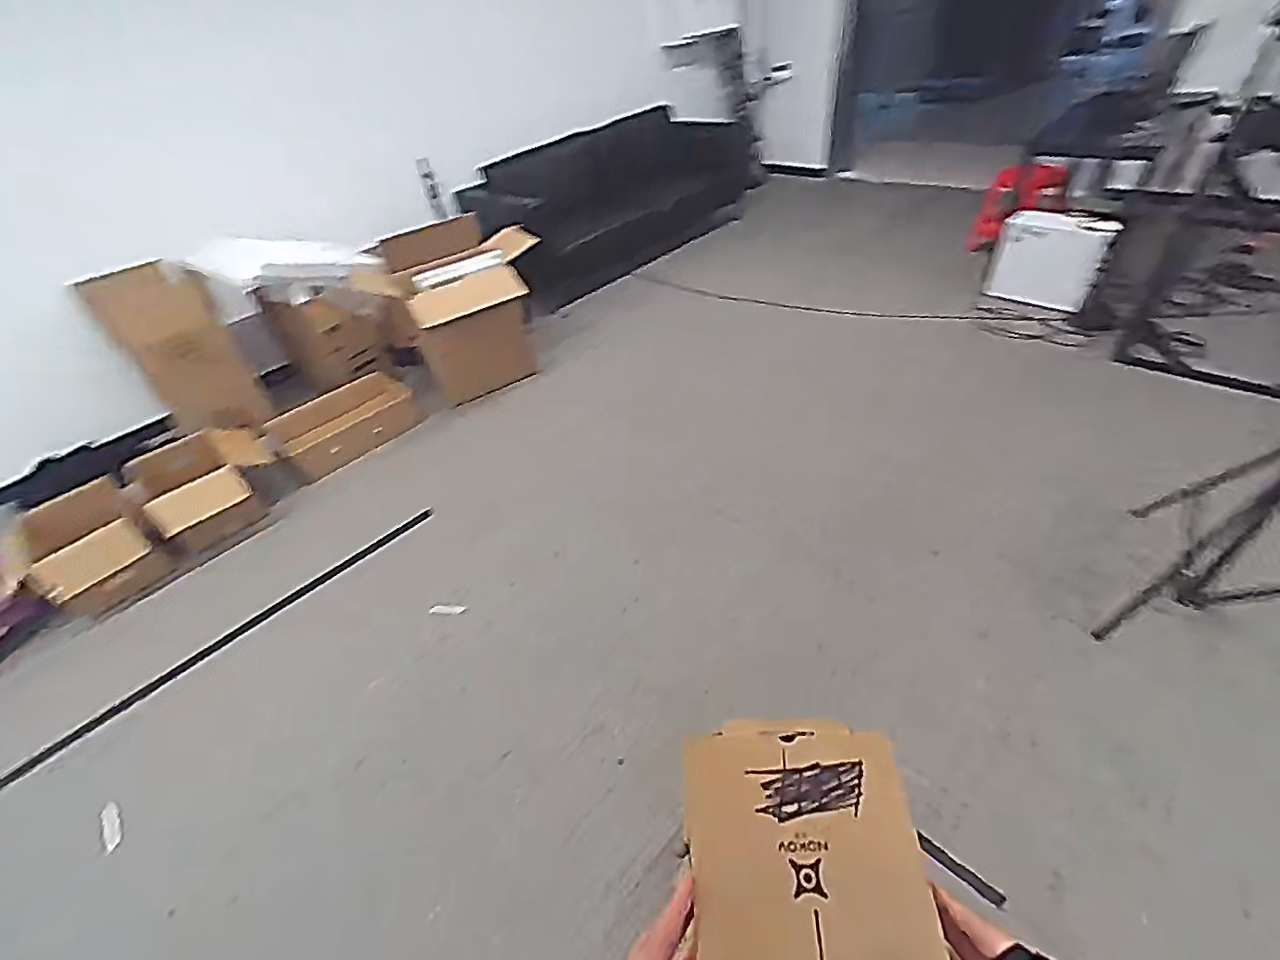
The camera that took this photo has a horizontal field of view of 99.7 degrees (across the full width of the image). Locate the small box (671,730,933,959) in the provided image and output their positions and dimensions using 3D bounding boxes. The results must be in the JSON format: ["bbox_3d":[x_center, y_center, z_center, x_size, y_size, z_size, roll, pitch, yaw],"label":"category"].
[{"bbox_3d":[0.112,0.324,0.450,0.168,0.176,0.179,-2,52,1],"label":"small box"}]
